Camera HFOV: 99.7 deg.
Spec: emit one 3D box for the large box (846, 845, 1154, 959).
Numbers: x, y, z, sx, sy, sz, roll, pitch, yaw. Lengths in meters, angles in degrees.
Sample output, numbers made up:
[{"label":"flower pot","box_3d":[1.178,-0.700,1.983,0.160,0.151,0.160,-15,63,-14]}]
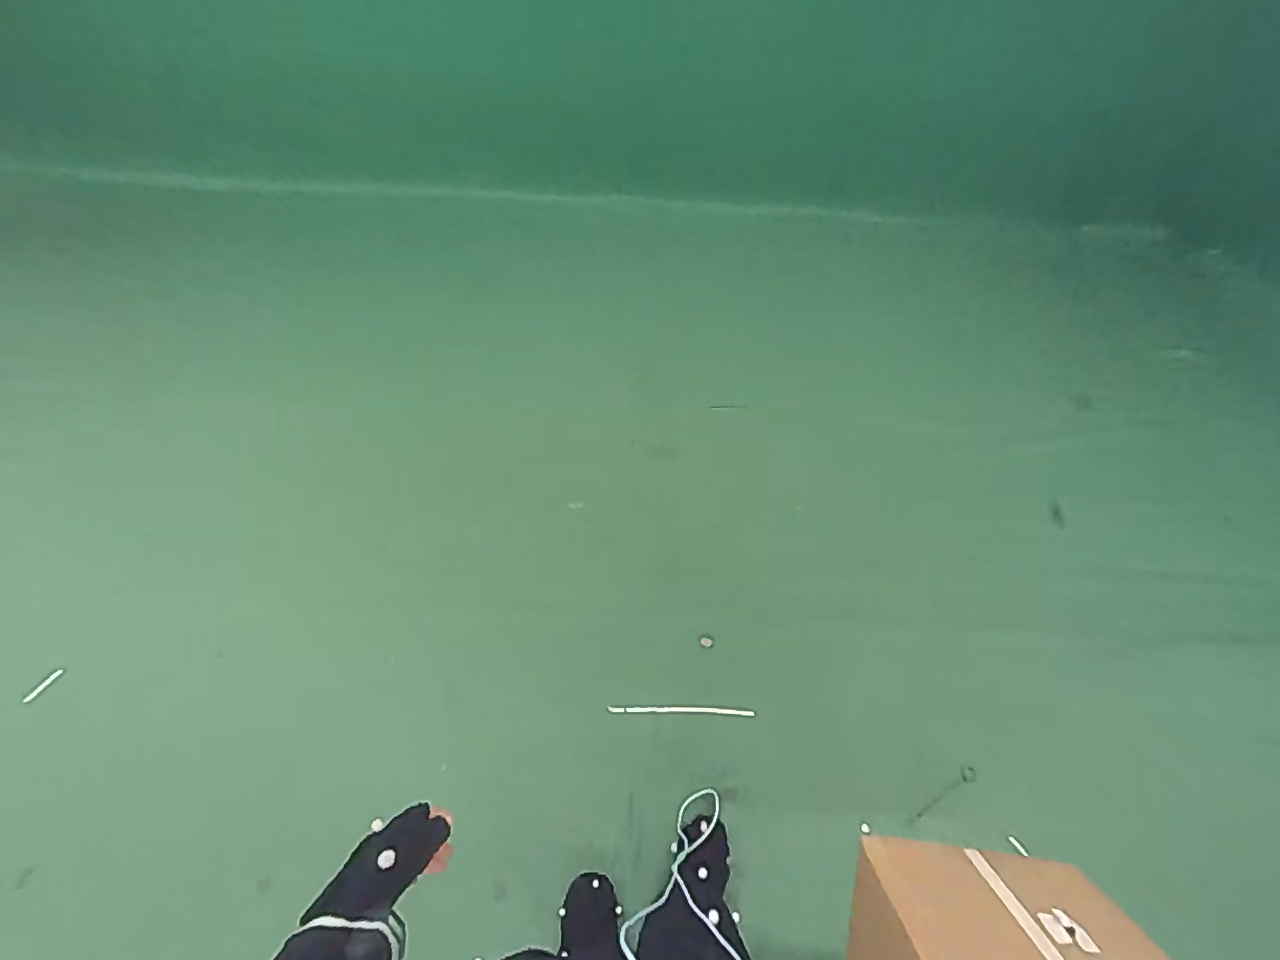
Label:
[{"label":"large box","box_3d":[0.449,0.710,0.602,0.320,0.408,0.320,7,91,3]}]
